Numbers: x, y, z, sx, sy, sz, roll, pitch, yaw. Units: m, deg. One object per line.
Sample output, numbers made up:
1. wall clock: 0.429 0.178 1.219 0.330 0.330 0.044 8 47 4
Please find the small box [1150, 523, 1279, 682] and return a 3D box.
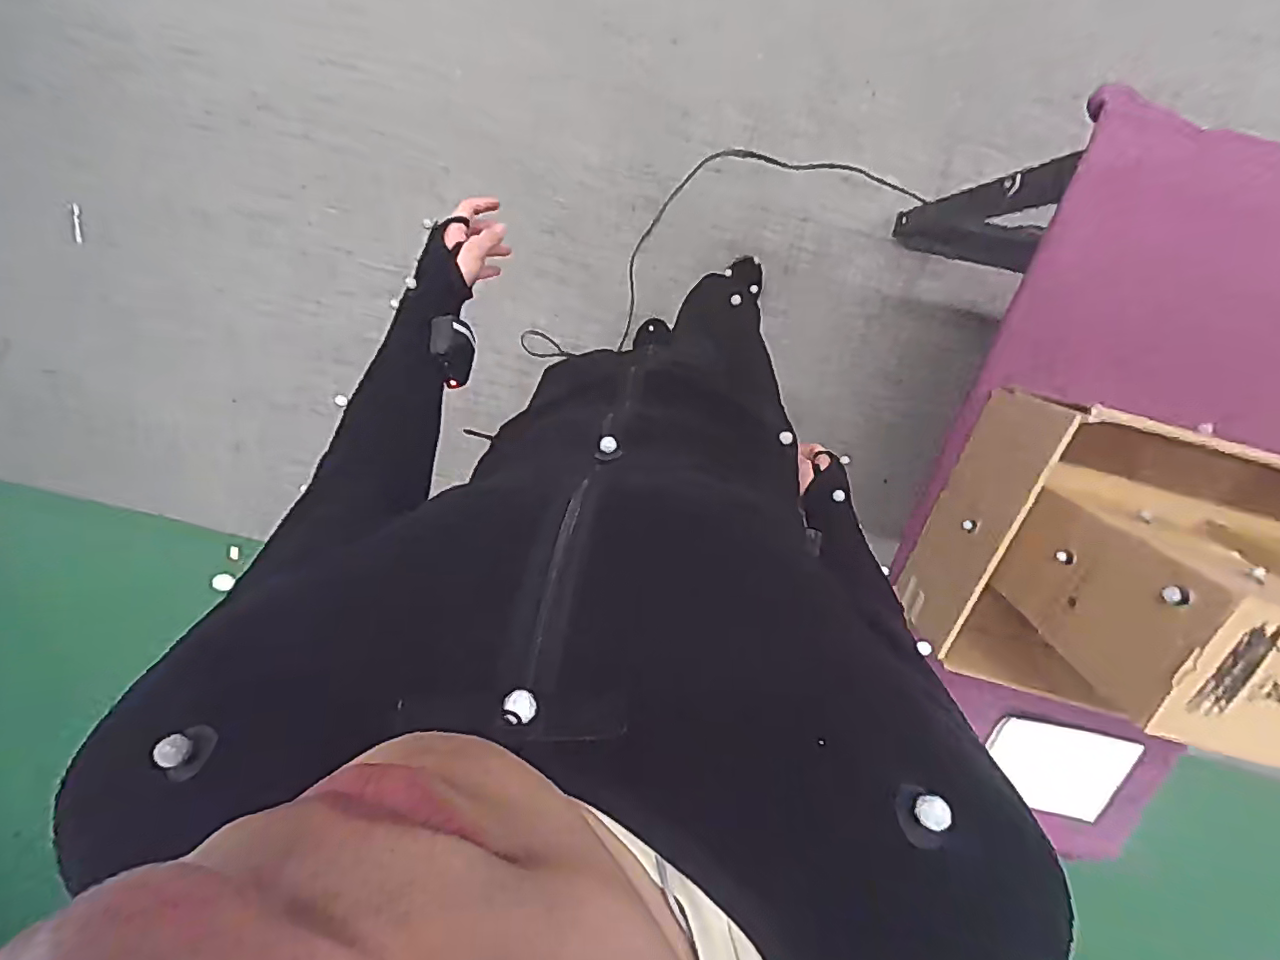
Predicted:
1. small box: 0.899 0.178 0.757 0.179 0.176 0.168 13 110 1
